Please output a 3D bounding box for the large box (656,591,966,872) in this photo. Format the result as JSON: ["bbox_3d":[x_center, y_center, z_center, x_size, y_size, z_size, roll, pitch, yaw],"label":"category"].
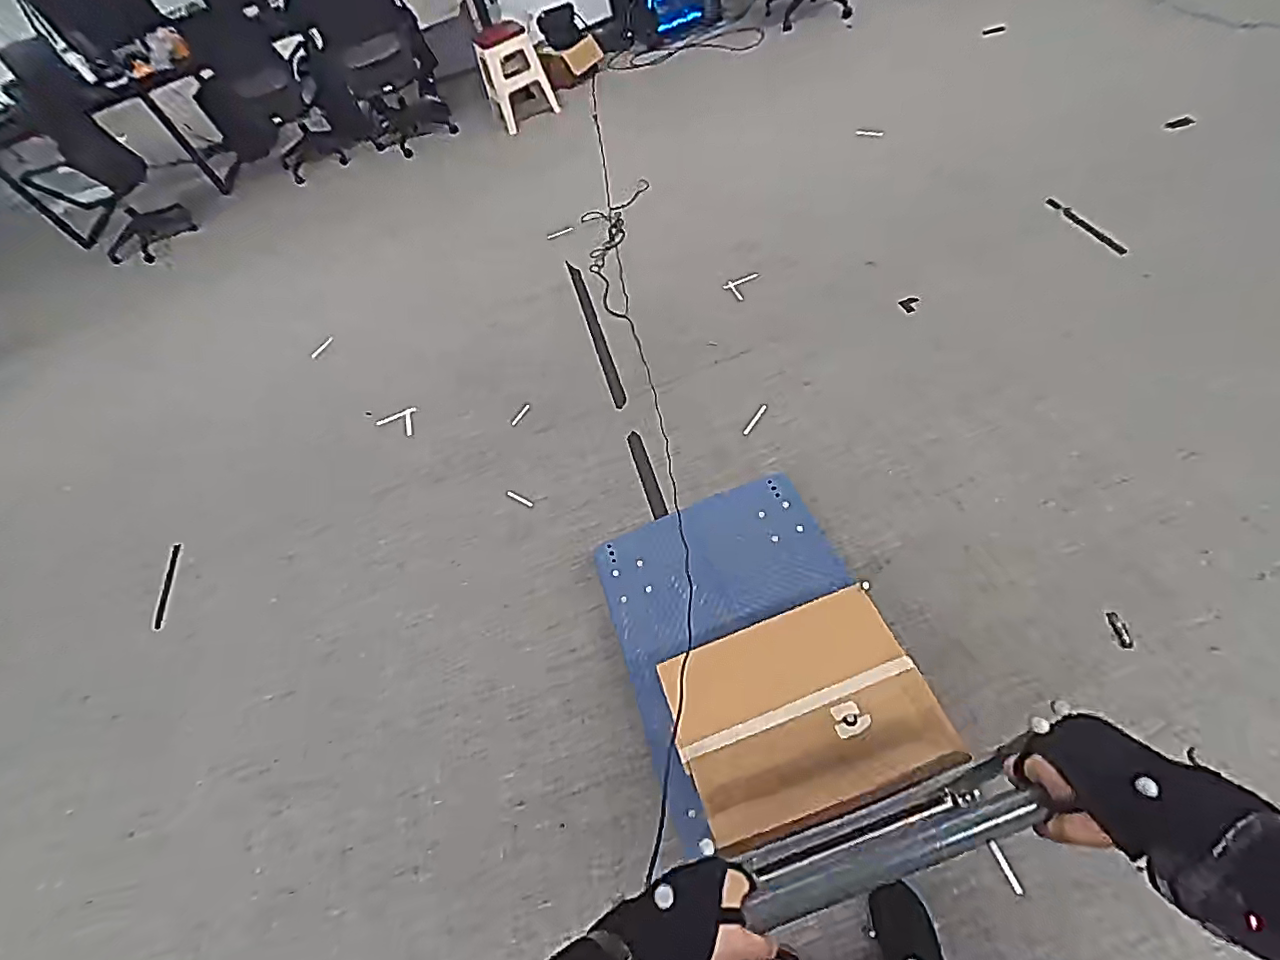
[{"bbox_3d":[0.286,0.471,0.997,0.408,0.320,0.320,-22,53,0],"label":"large box"}]
